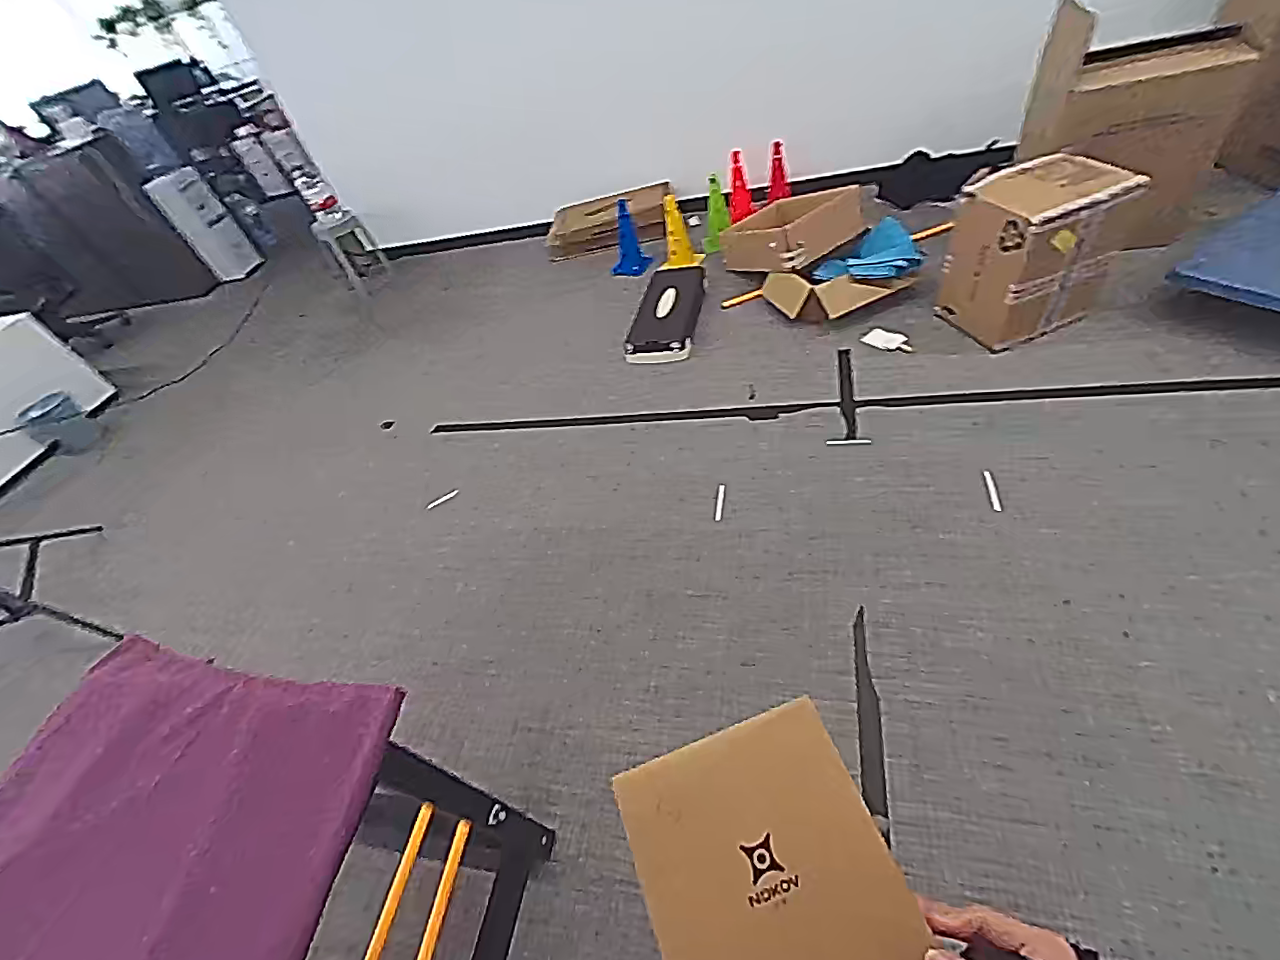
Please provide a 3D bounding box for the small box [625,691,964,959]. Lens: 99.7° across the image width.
[{"bbox_3d":[0.097,0.297,0.420,0.168,0.176,0.179,-19,56,-7],"label":"small box"}]
